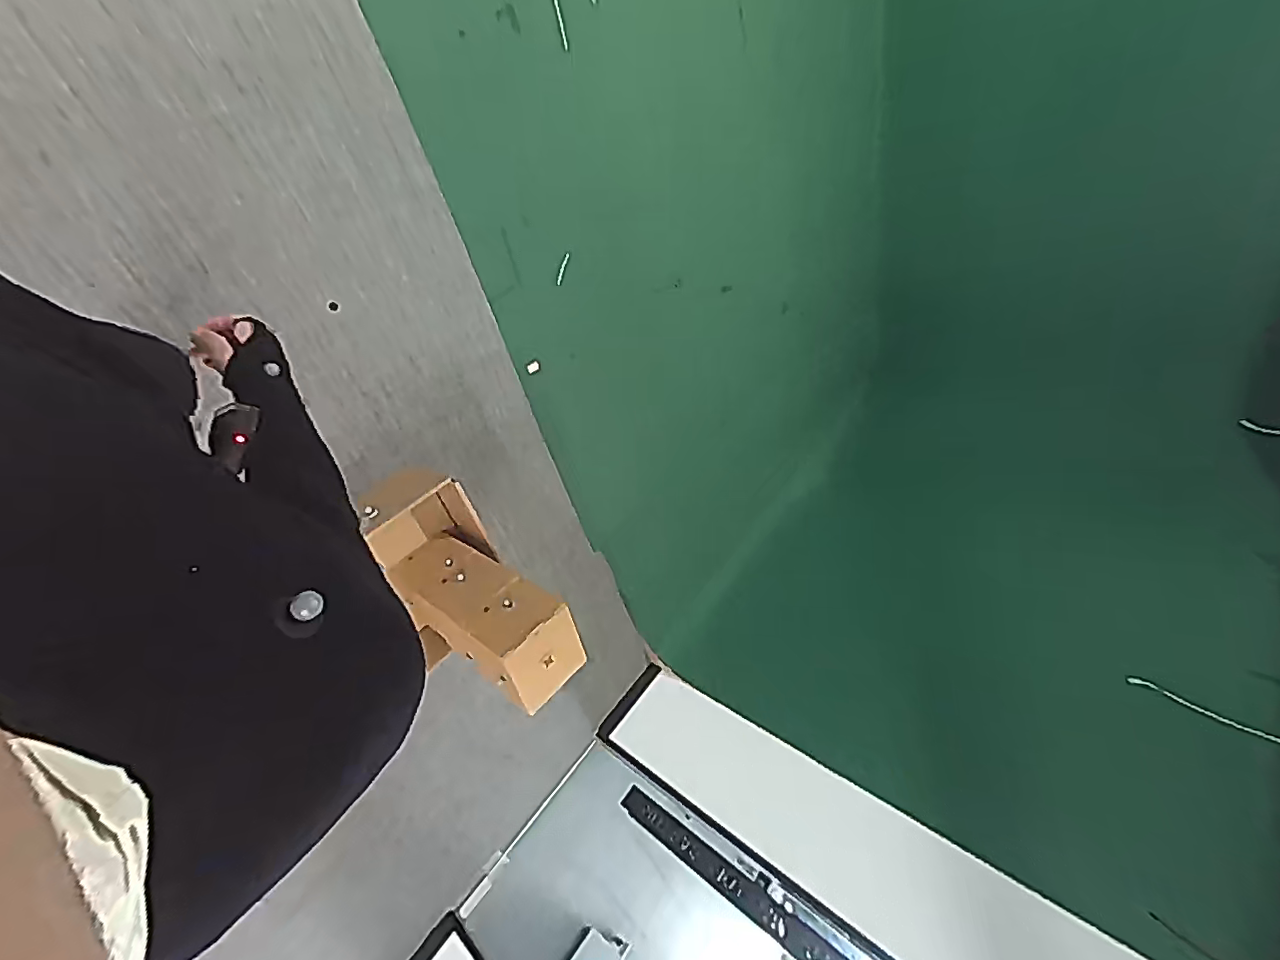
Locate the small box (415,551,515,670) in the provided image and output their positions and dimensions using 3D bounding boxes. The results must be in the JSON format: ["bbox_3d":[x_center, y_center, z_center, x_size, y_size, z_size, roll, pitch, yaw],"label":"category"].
[{"bbox_3d":[-0.380,0.292,1.242,0.168,0.176,0.179,-40,131,-35],"label":"small box"}]

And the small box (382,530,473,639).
[{"bbox_3d":[-0.501,0.253,1.344,0.168,0.176,0.179,-42,133,-33],"label":"small box"}]

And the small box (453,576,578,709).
[{"bbox_3d":[-0.261,0.334,1.140,0.168,0.176,0.179,-38,130,-35],"label":"small box"}]
